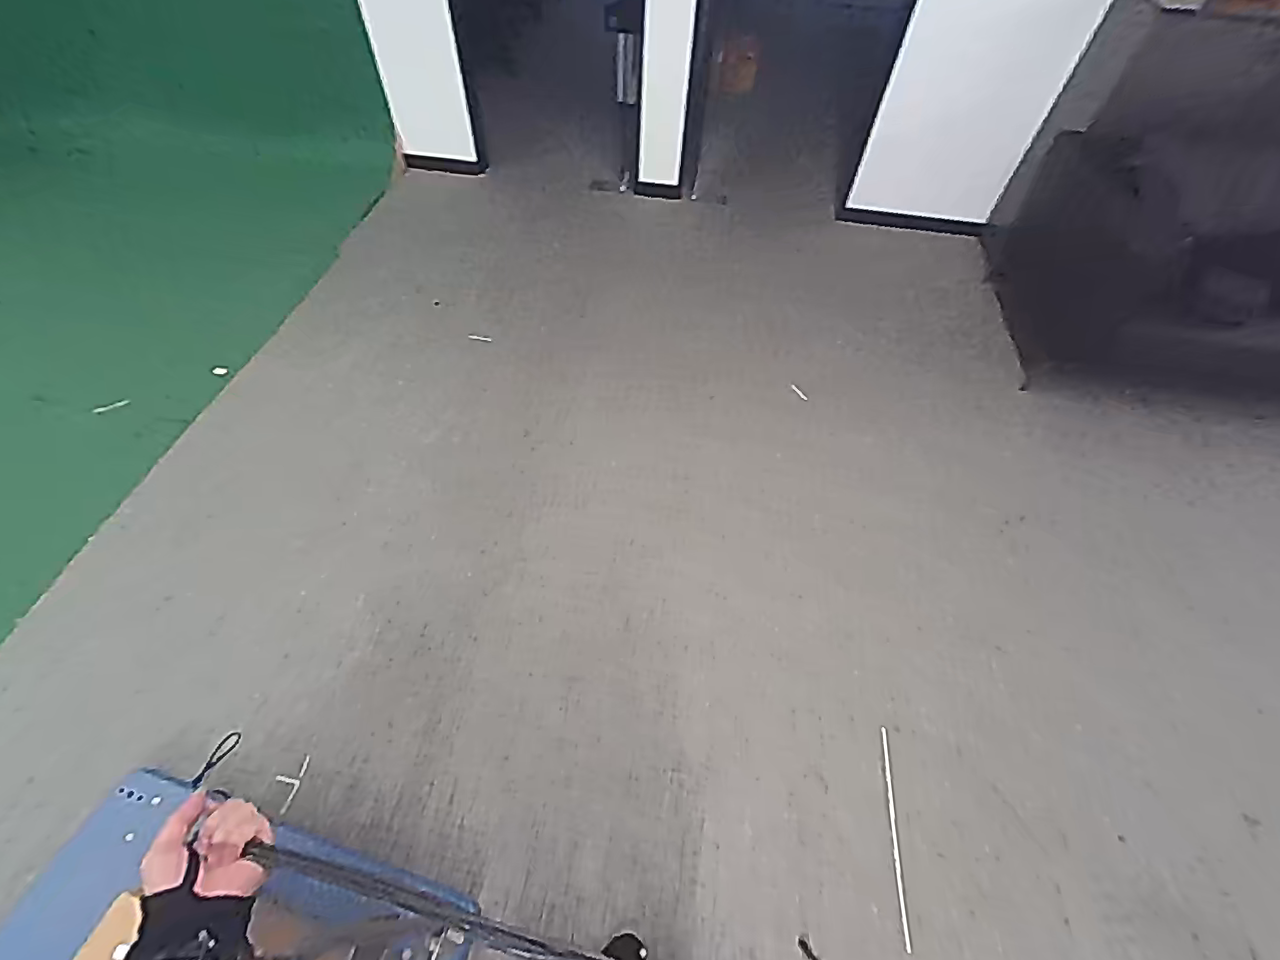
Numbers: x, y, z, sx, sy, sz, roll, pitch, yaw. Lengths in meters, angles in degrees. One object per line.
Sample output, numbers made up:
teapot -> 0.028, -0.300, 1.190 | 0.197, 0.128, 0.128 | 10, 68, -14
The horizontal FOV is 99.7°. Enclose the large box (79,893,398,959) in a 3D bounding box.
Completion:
large box -> -0.678, 0.914, 0.864 | 0.408, 0.320, 0.320 | 15, 54, 9
